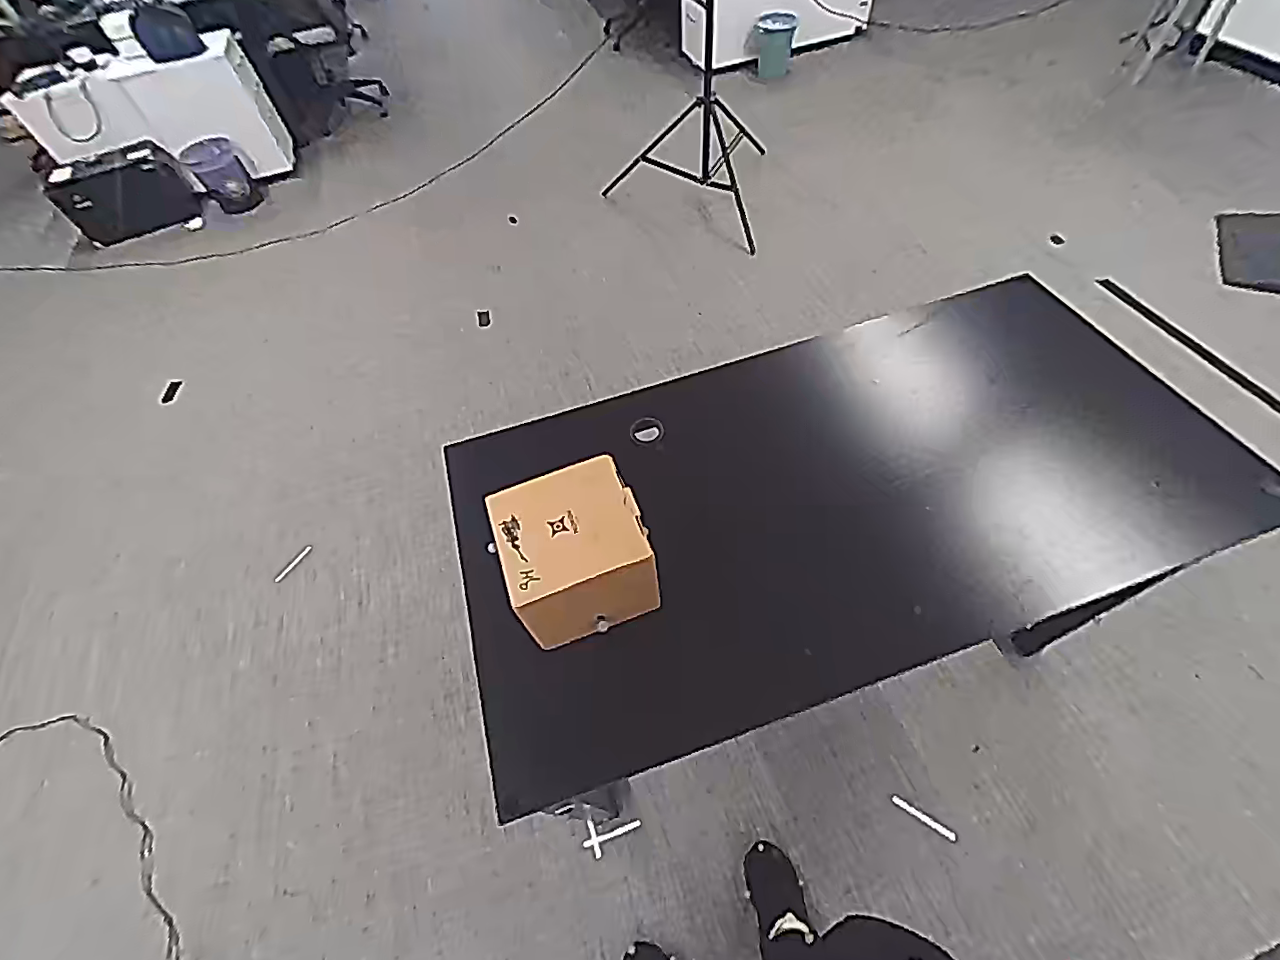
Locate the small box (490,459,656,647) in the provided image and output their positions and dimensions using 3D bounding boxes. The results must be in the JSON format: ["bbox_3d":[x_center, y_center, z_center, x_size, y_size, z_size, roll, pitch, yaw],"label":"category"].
[{"bbox_3d":[-0.085,0.103,0.739,0.179,0.176,0.168,-19,56,-9],"label":"small box"}]
